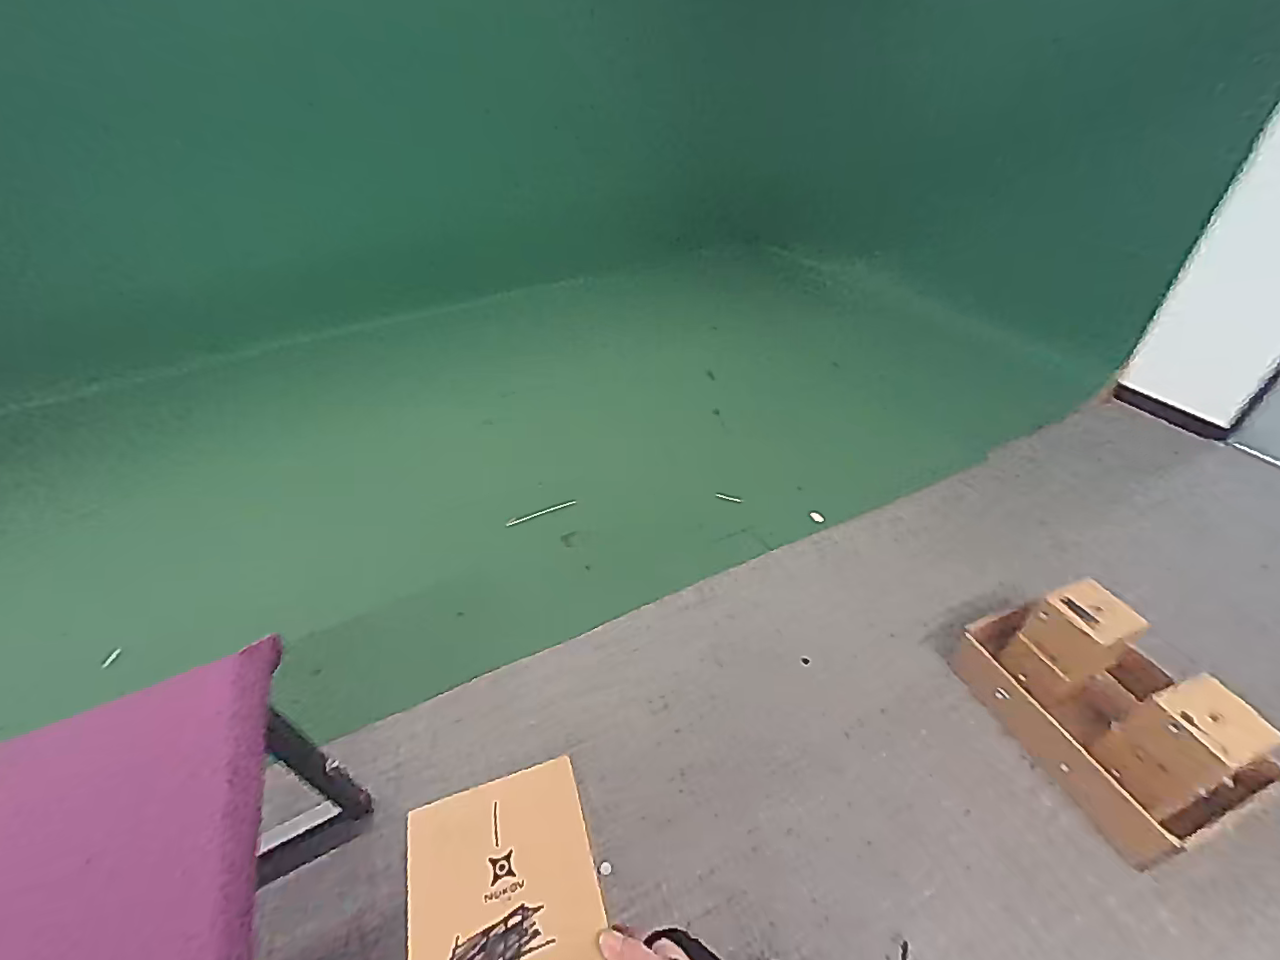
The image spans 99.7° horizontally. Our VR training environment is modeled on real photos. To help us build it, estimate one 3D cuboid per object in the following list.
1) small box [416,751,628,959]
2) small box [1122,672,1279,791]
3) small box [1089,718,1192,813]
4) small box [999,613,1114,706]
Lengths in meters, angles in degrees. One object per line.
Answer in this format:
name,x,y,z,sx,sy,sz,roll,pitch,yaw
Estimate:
small box,-0.114,0.414,0.541,0.168,0.176,0.179,-13,41,-12
small box,1.284,0.580,1.248,0.179,0.176,0.168,-14,42,-13
small box,1.295,0.699,1.361,0.179,0.176,0.168,-16,42,-12
small box,1.197,0.522,1.571,0.179,0.176,0.168,-16,42,-14
